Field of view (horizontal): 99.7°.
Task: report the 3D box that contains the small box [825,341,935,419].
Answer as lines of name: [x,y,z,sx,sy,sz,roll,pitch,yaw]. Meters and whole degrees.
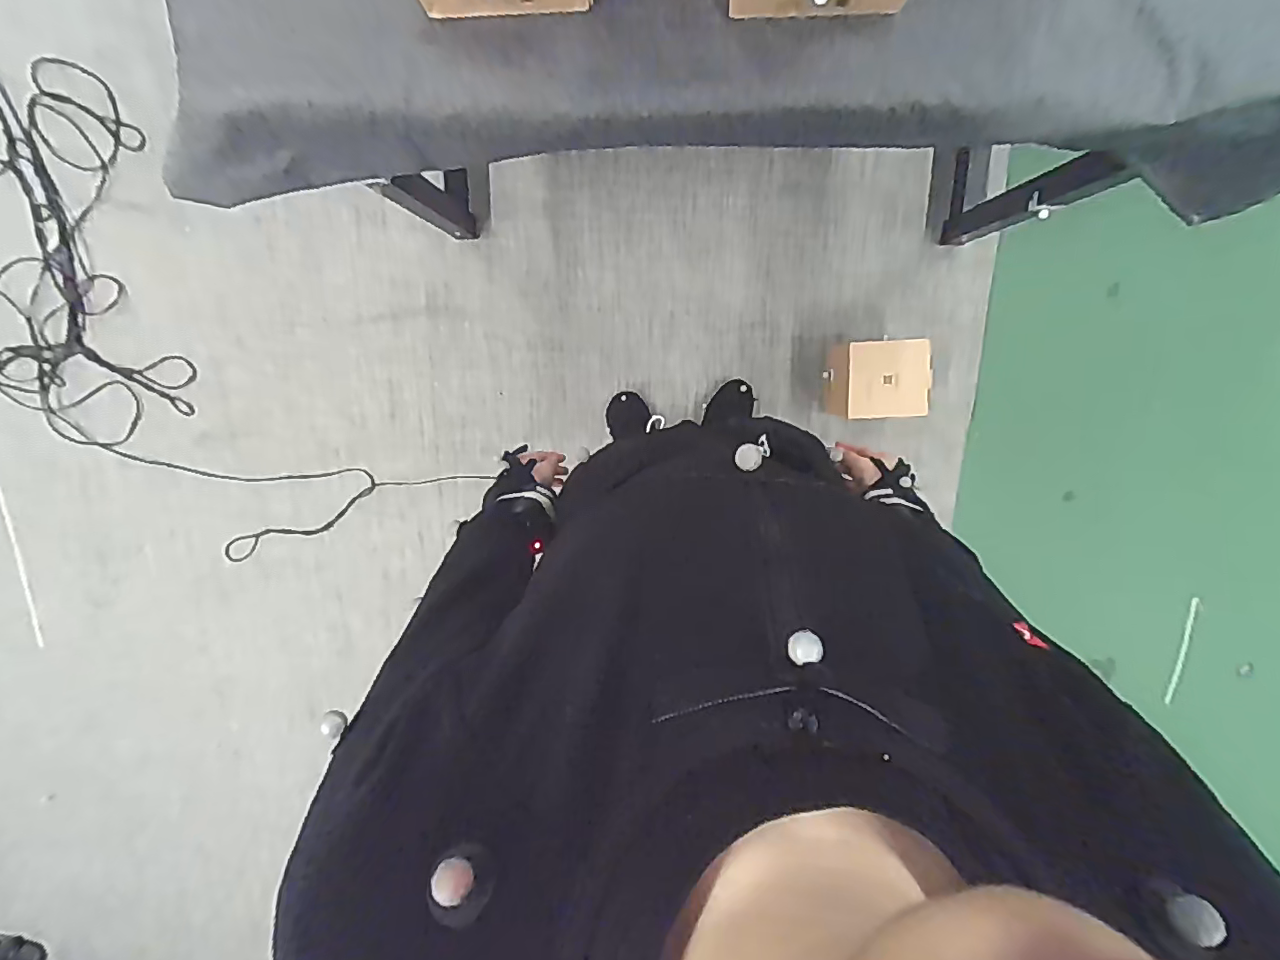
small box: [0.537,-0.230,1.231,0.179,0.176,0.168,-1,101,3]

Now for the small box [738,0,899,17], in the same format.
small box: [0.167,-0.522,0.431,0.168,0.176,0.179,0,102,2]

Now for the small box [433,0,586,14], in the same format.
small box: [-0.132,-0.533,0.440,0.168,0.176,0.179,-2,102,1]
